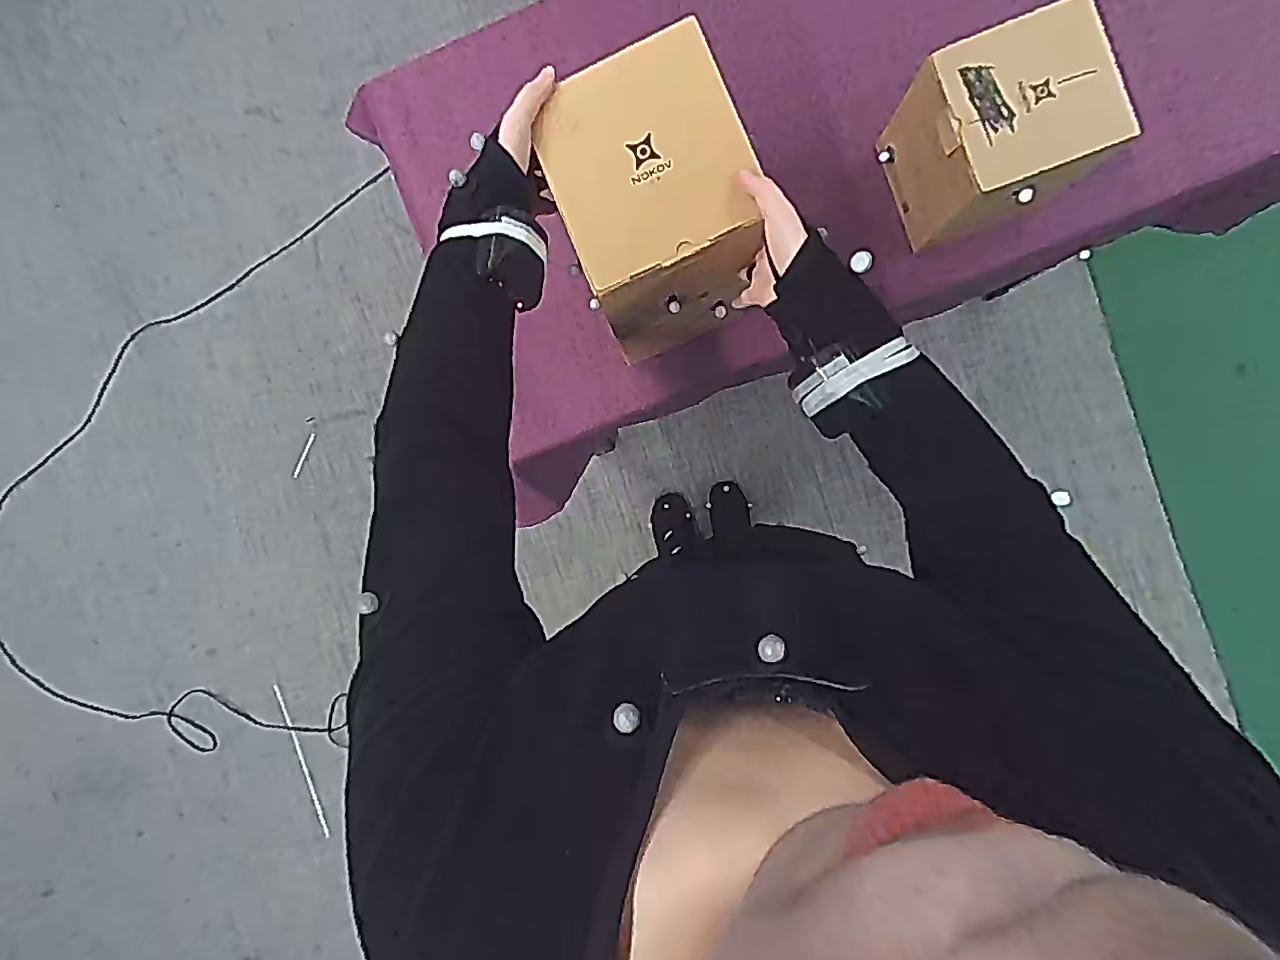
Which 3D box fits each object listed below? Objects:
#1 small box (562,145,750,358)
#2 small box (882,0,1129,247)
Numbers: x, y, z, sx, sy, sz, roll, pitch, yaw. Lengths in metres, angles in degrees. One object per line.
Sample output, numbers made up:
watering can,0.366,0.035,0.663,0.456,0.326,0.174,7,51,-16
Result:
small box,0.022,-0.275,0.694,0.179,0.176,0.168,-22,89,5
small box,0.420,-0.415,0.661,0.179,0.176,0.168,-19,90,4
